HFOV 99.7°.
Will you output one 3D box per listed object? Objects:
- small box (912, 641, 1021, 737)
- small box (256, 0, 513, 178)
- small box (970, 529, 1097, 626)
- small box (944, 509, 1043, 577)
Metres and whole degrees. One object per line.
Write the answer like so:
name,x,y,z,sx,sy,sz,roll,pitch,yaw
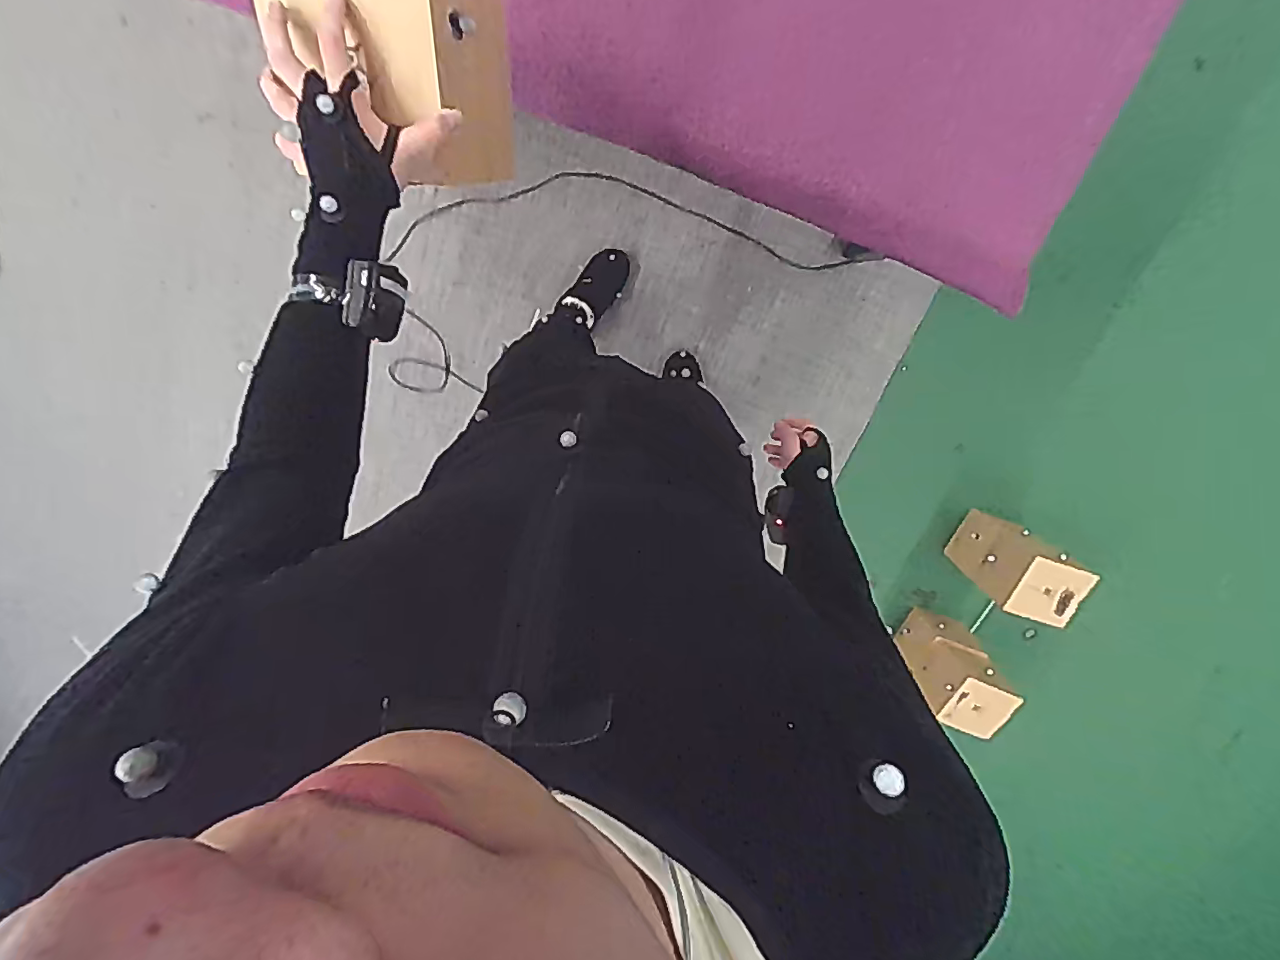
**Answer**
small box,0.938,0.600,1.571,0.179,0.176,0.168,23,110,-5
small box,-0.237,-0.410,0.541,0.168,0.176,0.179,9,122,8
small box,1.033,0.251,1.436,0.179,0.176,0.168,18,110,-2
small box,1.045,0.204,1.594,0.179,0.176,0.168,20,110,-5
